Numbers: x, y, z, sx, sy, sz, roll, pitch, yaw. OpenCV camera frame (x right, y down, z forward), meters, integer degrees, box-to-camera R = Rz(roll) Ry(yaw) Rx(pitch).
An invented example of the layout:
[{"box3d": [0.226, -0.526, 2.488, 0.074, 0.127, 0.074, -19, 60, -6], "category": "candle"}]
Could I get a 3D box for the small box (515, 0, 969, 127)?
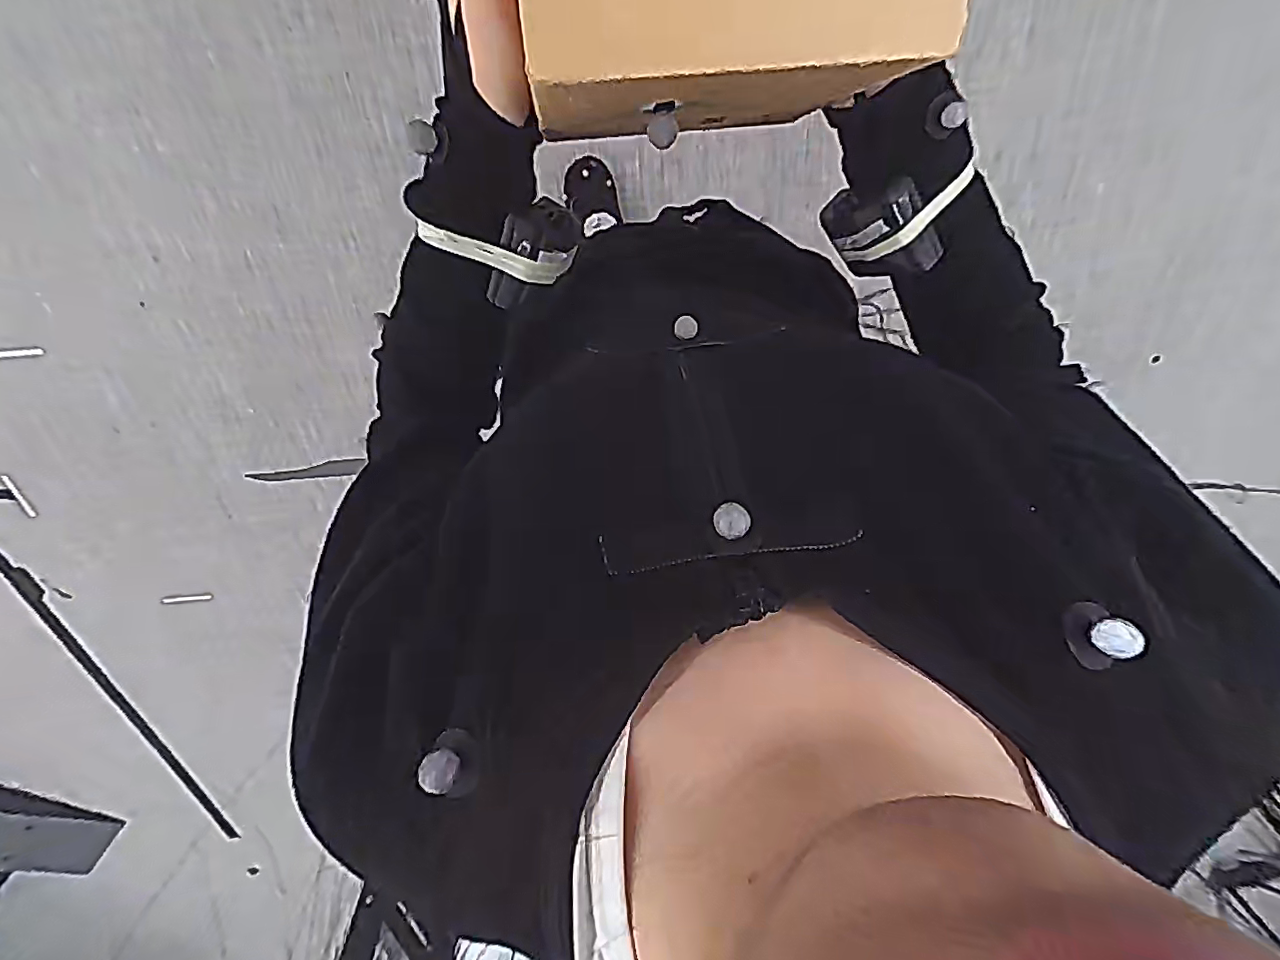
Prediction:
[{"box3d": [0.025, -0.265, 0.231, 0.168, 0.176, 0.179, -7, 116, -4], "category": "small box"}]
